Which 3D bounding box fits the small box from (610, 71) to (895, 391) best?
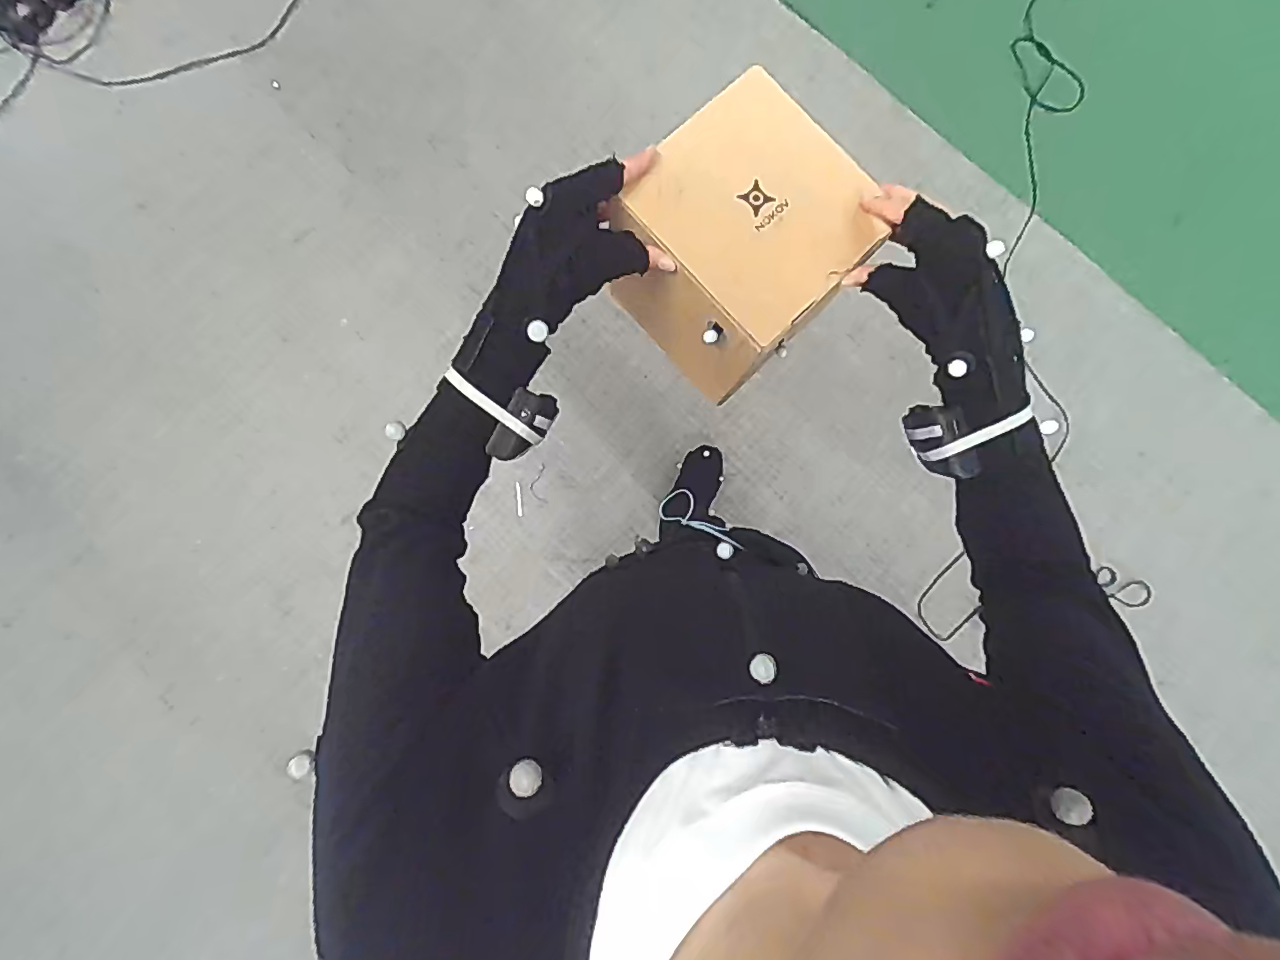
[{"bbox_3d":[0.085,-0.212,0.508,0.168,0.176,0.179,-43,89,-8],"label":"small box"}]
